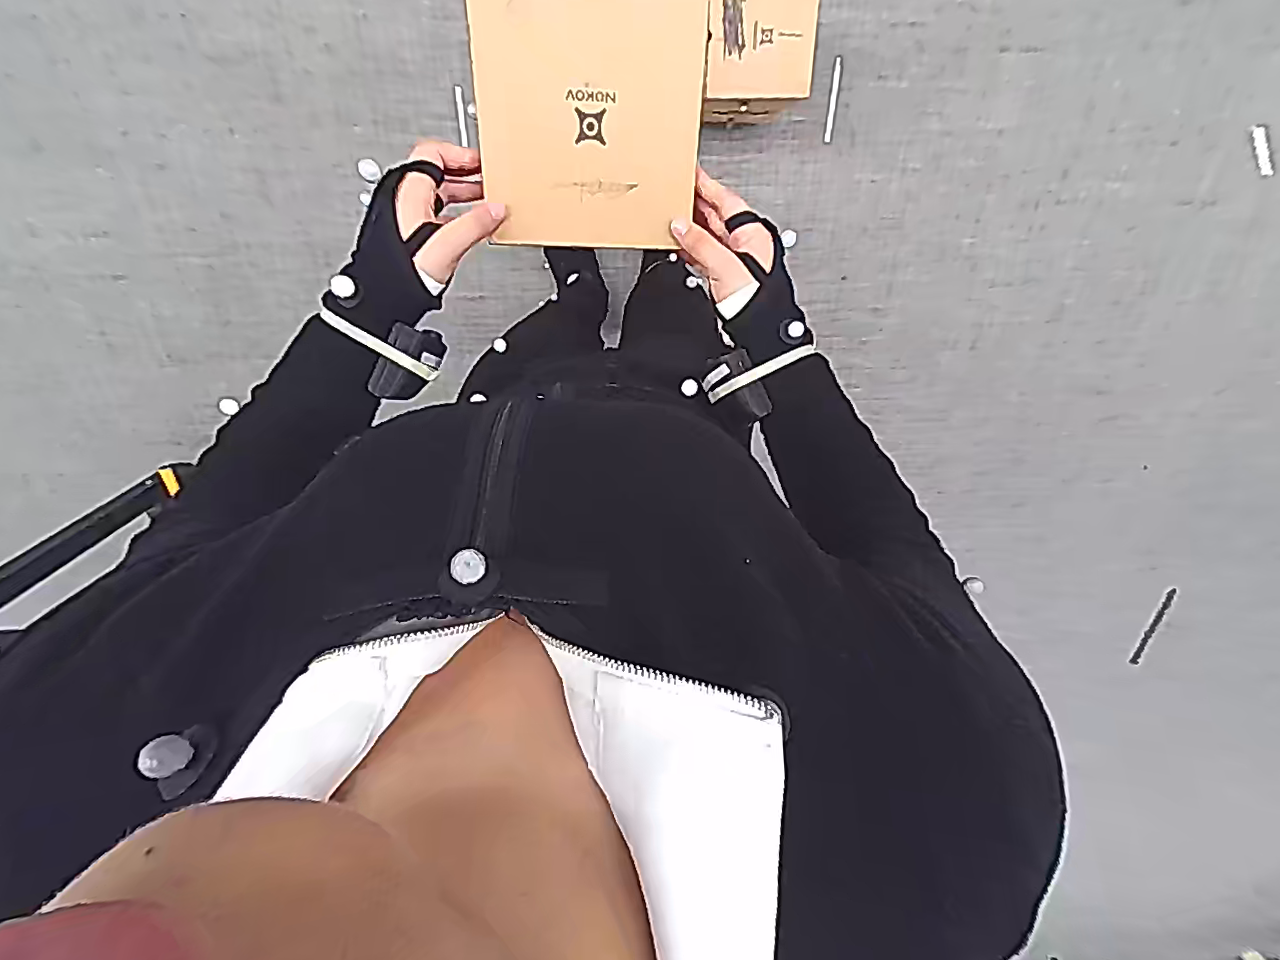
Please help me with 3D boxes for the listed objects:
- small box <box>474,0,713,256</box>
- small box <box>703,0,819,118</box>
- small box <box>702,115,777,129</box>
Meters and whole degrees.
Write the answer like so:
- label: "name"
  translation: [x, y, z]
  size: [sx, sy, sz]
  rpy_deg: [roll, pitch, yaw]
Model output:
- label: "small box"
  translation: [-0.041, -0.302, 0.471]
  size: [0.168, 0.176, 0.179]
  rpy_deg: [0, 120, -4]
- label: "small box"
  translation: [0.186, -0.728, 0.927]
  size: [0.179, 0.176, 0.168]
  rpy_deg: [-2, 119, -2]
- label: "small box"
  translation: [0.184, -0.806, 1.073]
  size: [0.168, 0.176, 0.179]
  rpy_deg: [0, 119, -3]
